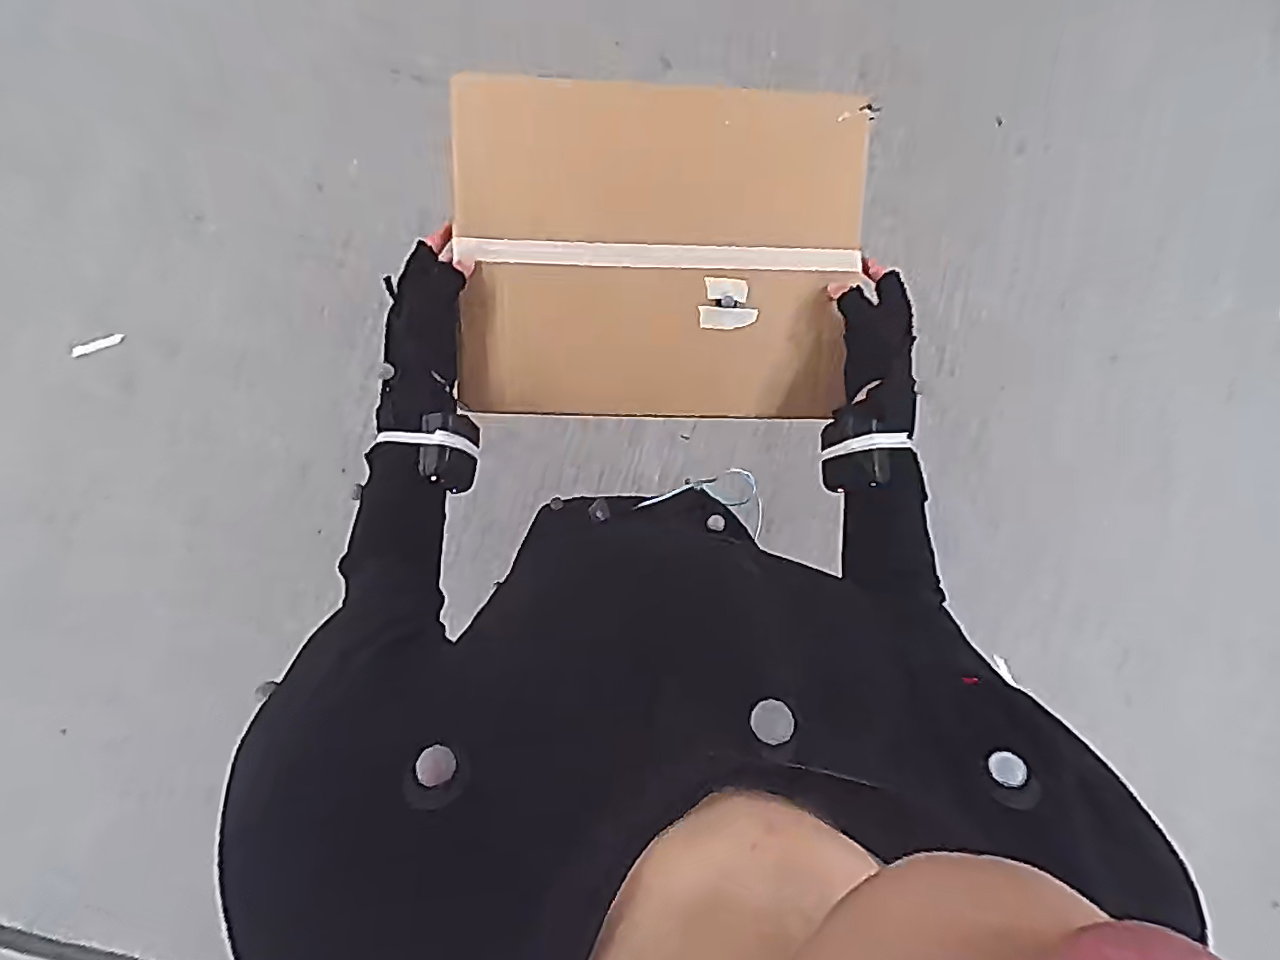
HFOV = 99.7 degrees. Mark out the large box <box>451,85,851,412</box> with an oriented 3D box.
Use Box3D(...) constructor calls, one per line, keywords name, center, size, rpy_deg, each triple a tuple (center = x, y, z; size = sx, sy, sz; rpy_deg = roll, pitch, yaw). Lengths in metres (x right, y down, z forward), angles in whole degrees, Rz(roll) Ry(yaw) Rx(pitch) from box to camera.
Box3D(name="large box", center=(0.004, -0.247, 0.696), size=(0.408, 0.320, 0.320), rpy_deg=(0, 98, -4))
